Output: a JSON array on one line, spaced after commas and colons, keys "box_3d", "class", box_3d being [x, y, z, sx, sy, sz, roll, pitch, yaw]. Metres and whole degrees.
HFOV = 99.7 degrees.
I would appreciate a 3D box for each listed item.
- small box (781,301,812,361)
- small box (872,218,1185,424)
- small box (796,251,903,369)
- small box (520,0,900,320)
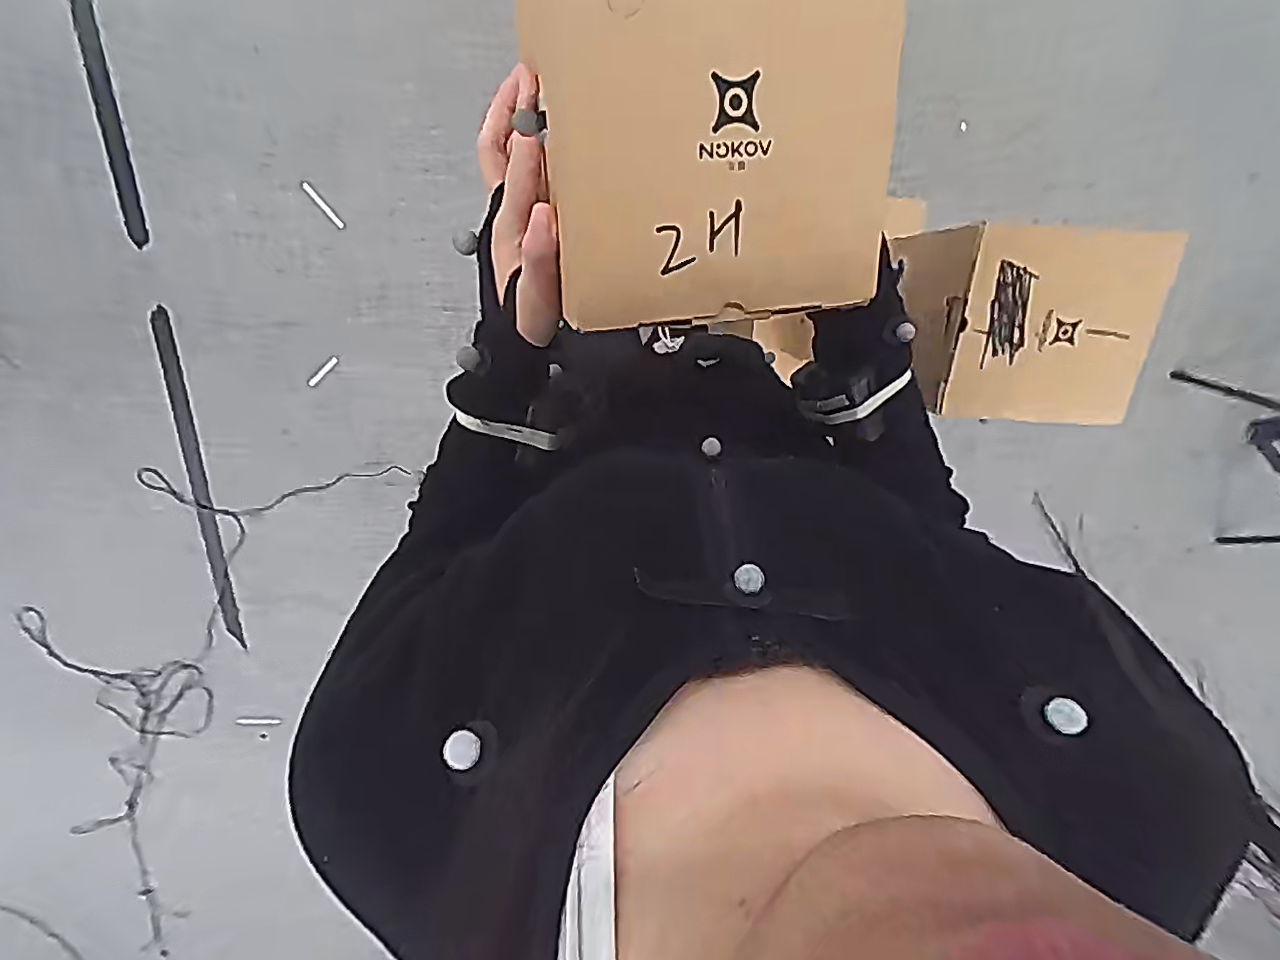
[{"box_3d": [0.371, -0.320, 1.014, 0.168, 0.176, 0.179, 1, 110, 0], "class": "small box"}, {"box_3d": [0.363, -0.160, 0.550, 0.179, 0.176, 0.168, 3, 110, -2], "class": "small box"}, {"box_3d": [0.365, -0.270, 0.859, 0.179, 0.176, 0.168, 2, 109, 0], "class": "small box"}, {"box_3d": [0.023, -0.198, 0.319, 0.168, 0.176, 0.179, -8, 114, -9], "class": "small box"}]
